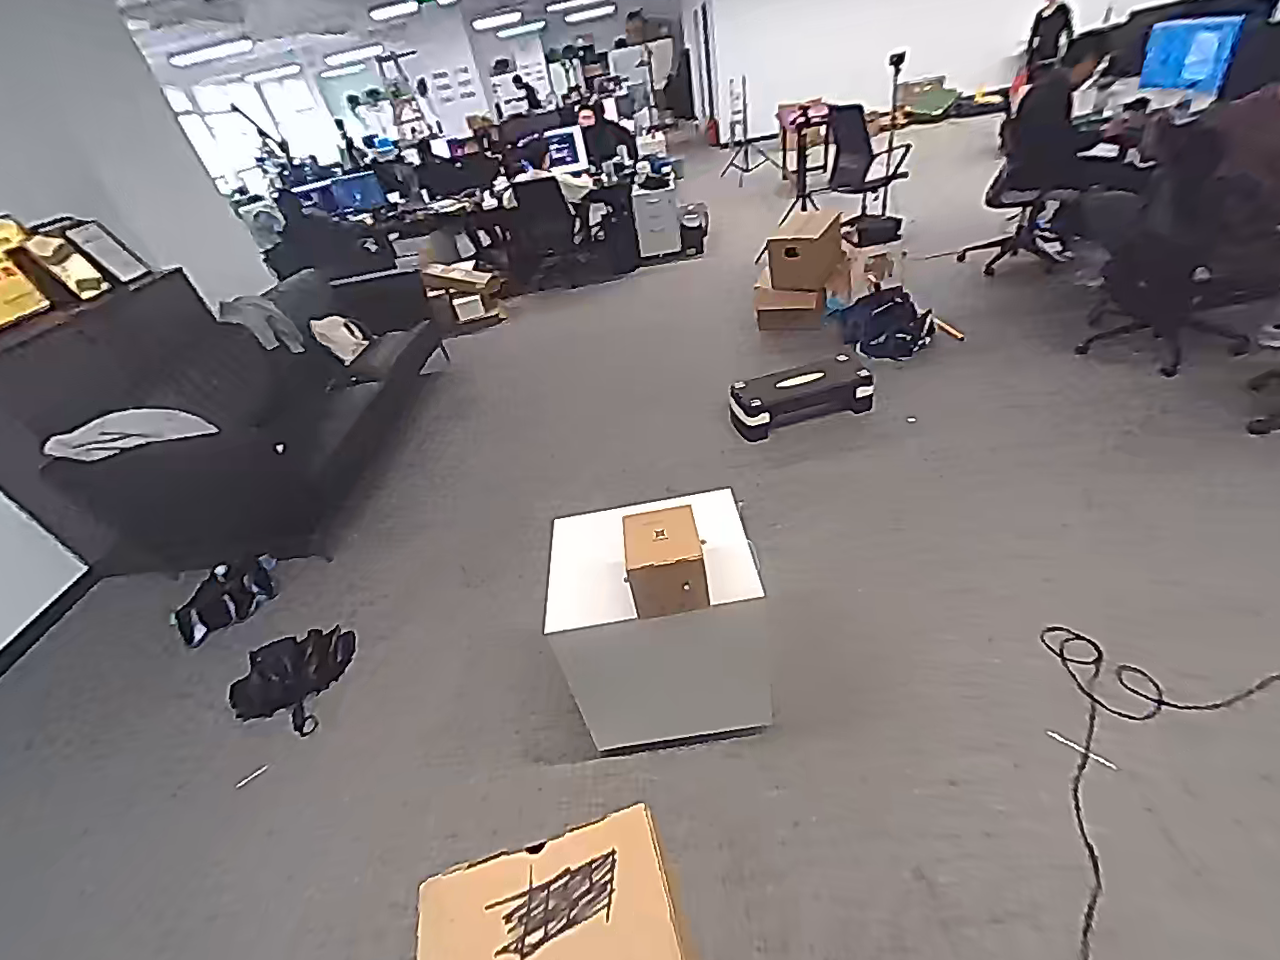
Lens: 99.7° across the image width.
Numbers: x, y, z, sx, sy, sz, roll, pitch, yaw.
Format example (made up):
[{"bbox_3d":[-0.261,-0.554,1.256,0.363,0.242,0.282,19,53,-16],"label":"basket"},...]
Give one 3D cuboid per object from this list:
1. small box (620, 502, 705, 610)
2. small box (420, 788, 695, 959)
[{"bbox_3d":[0.051,0.178,1.234,0.168,0.176,0.179,-10,35,1],"label":"small box"},{"bbox_3d":[-0.046,0.363,0.385,0.168,0.176,0.179,-16,41,-4],"label":"small box"}]
